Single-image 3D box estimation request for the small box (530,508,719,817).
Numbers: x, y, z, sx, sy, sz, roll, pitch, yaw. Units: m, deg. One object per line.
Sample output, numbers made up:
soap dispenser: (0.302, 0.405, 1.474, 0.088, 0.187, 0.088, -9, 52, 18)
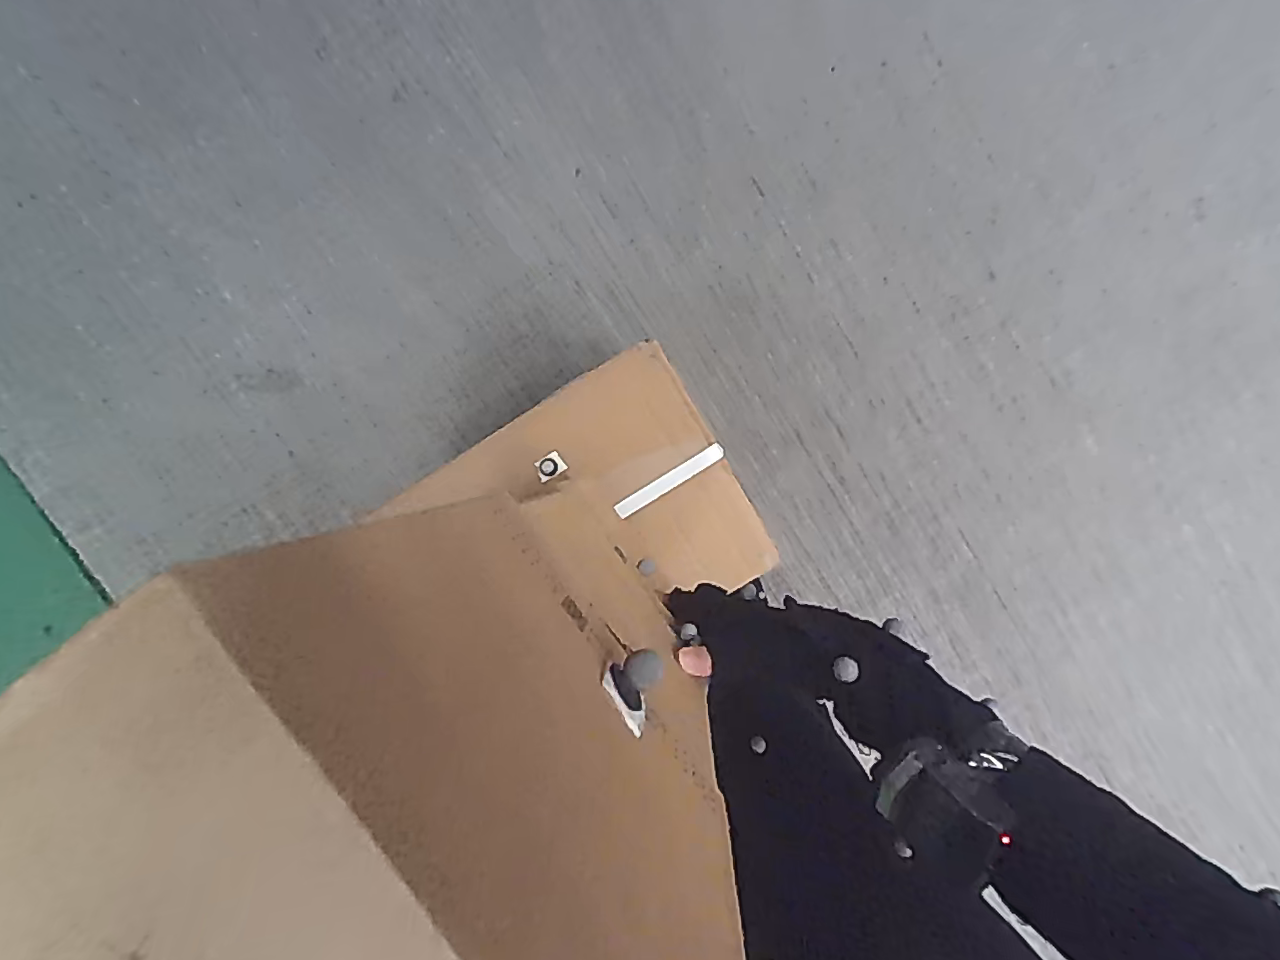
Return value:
small box: (-0.073, 0.133, 0.340, 0.179, 0.176, 0.168, -36, 90, 6)
